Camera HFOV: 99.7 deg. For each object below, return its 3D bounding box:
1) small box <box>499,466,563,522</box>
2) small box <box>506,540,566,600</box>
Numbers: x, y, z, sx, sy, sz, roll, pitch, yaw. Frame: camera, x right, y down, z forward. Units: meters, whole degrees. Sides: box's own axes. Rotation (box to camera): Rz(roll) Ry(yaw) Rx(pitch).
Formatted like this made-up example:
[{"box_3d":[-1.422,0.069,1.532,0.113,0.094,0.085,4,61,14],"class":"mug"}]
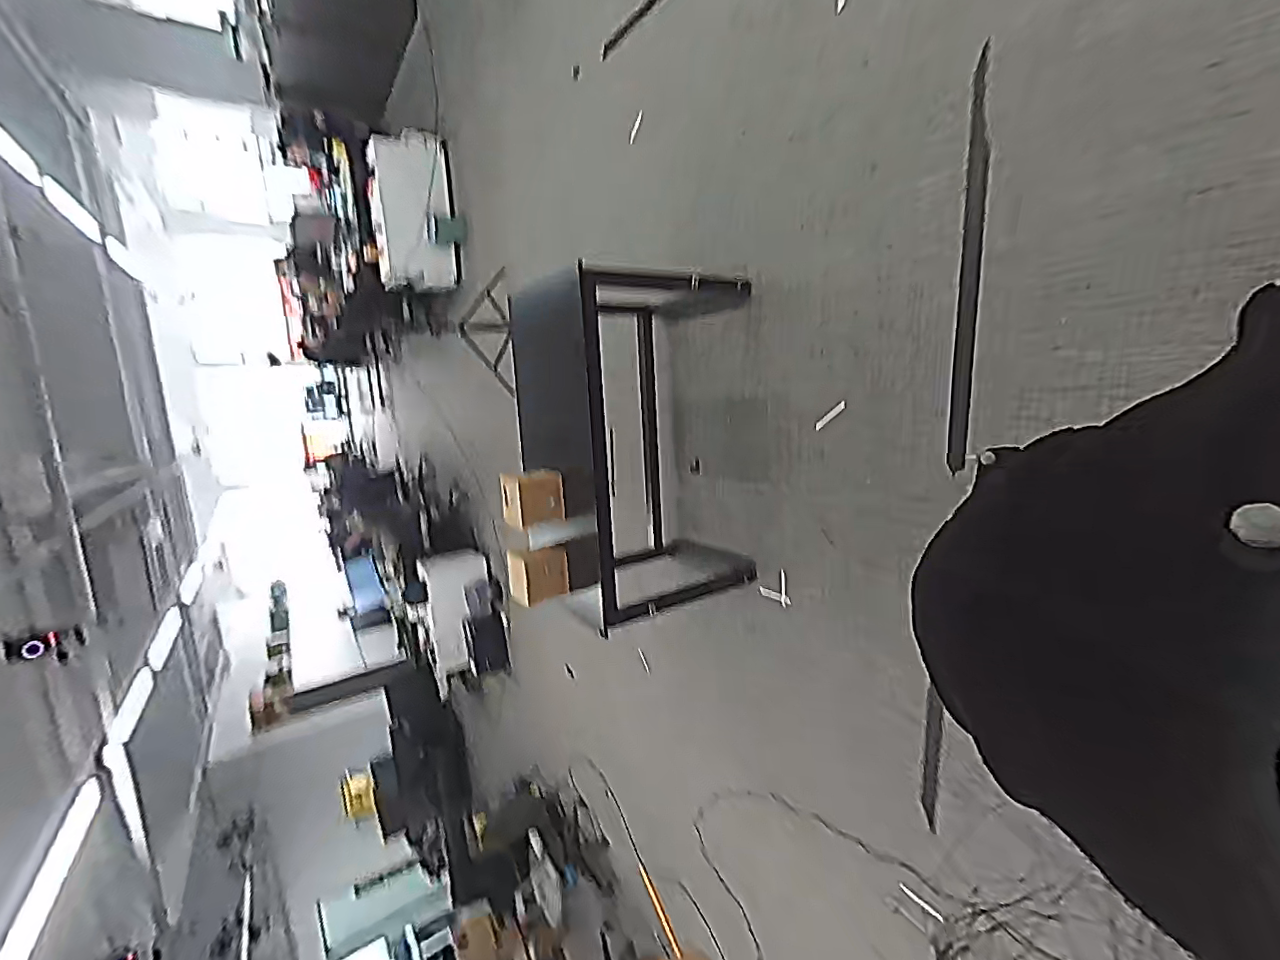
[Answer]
[{"box_3d":[-0.392,0.045,1.946,0.179,0.176,0.168,11,107,55],"class":"small box"},{"box_3d":[-0.382,0.326,2.004,0.179,0.176,0.168,10,105,56],"class":"small box"}]
